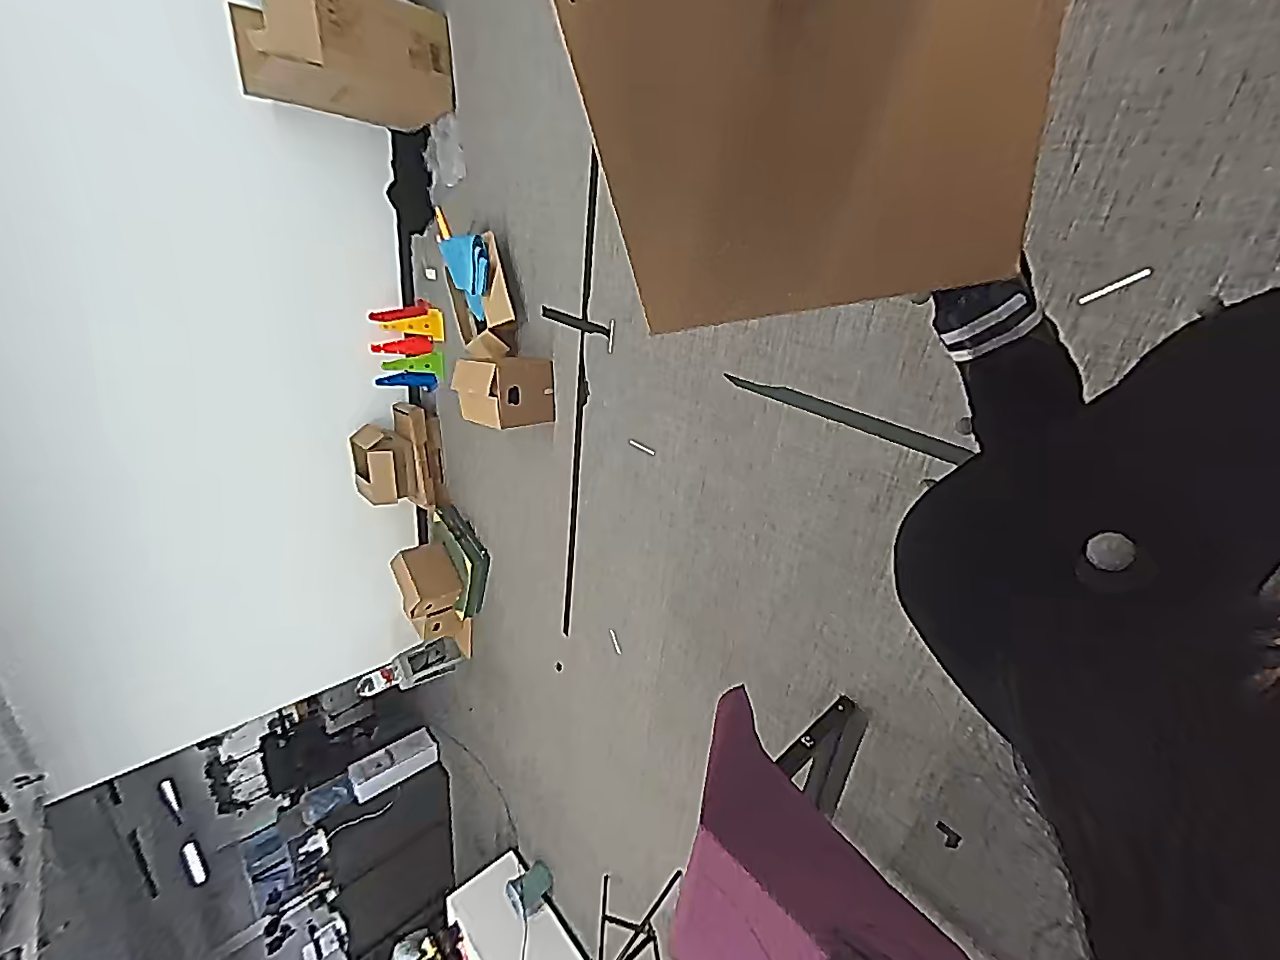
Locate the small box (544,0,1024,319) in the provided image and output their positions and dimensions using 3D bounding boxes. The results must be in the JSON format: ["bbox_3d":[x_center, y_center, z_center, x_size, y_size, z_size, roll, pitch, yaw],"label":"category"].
[{"bbox_3d":[0.071,-0.207,0.260,0.168,0.179,0.176,-4,132,22],"label":"small box"}]
